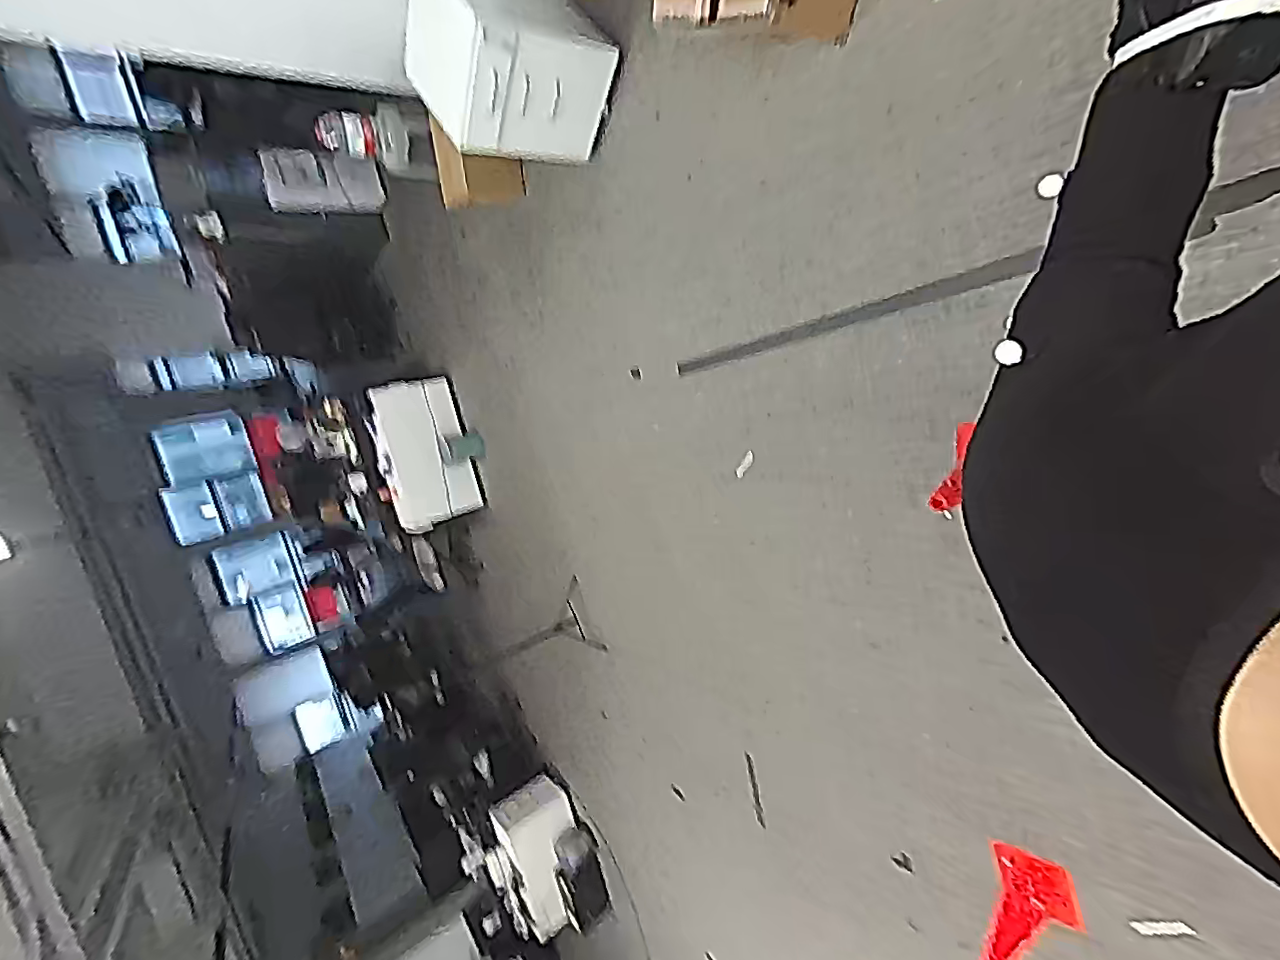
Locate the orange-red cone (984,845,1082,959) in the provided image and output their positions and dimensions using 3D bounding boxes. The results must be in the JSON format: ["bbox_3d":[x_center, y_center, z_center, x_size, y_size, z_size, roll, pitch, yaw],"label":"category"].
[{"bbox_3d":[1.040,1.250,1.499,0.198,0.360,0.199,-7,101,55],"label":"orange-red cone"}]

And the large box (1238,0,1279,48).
[{"bbox_3d":[0.594,-0.448,0.225,0.408,0.320,0.320,18,125,48],"label":"large box"}]
